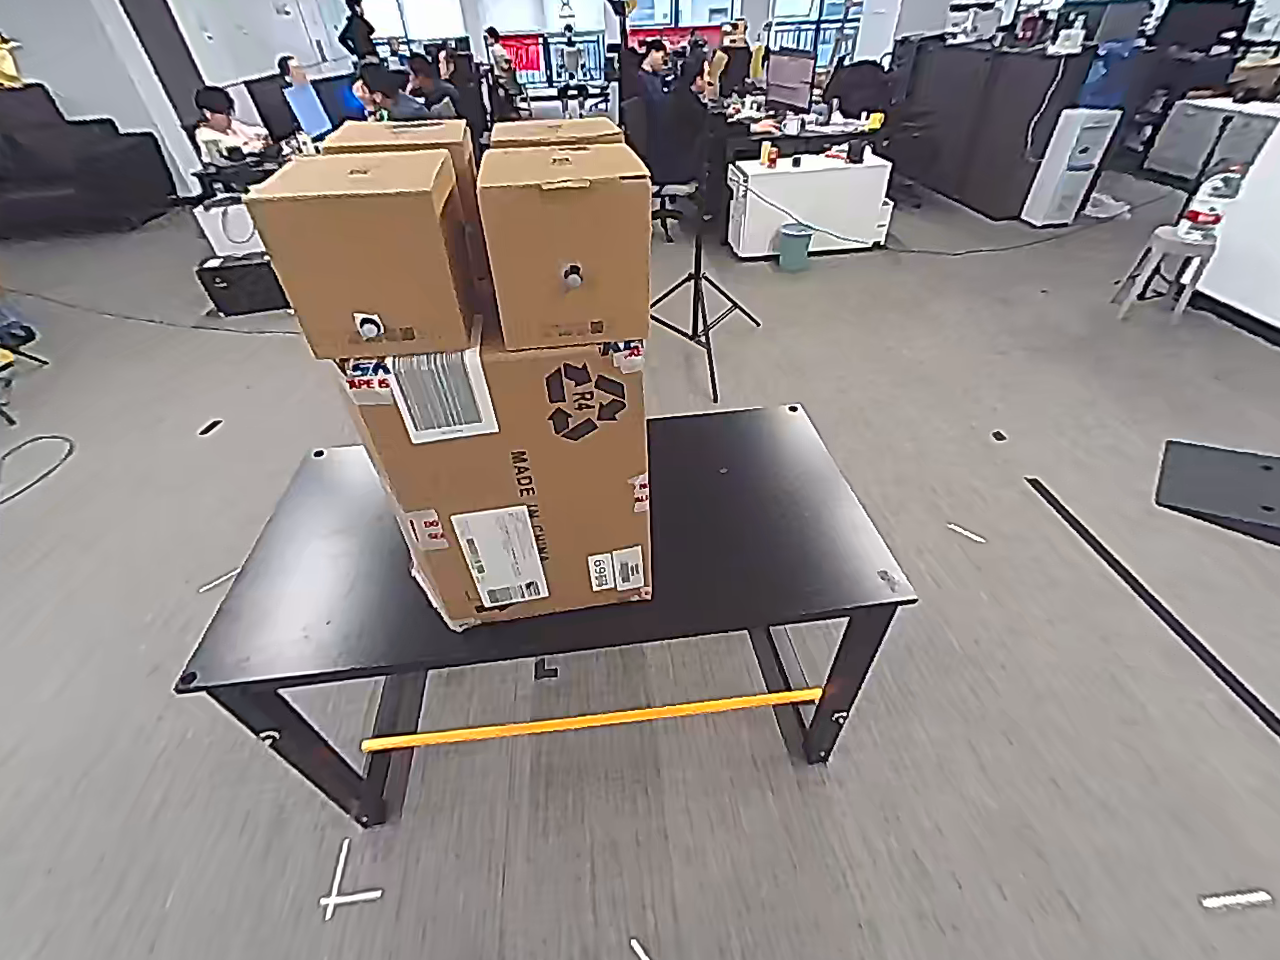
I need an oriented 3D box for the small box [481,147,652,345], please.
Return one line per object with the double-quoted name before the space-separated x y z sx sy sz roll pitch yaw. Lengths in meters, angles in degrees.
"small box" -0.079 -0.265 0.619 0.168 0.176 0.179 -5 42 -7
